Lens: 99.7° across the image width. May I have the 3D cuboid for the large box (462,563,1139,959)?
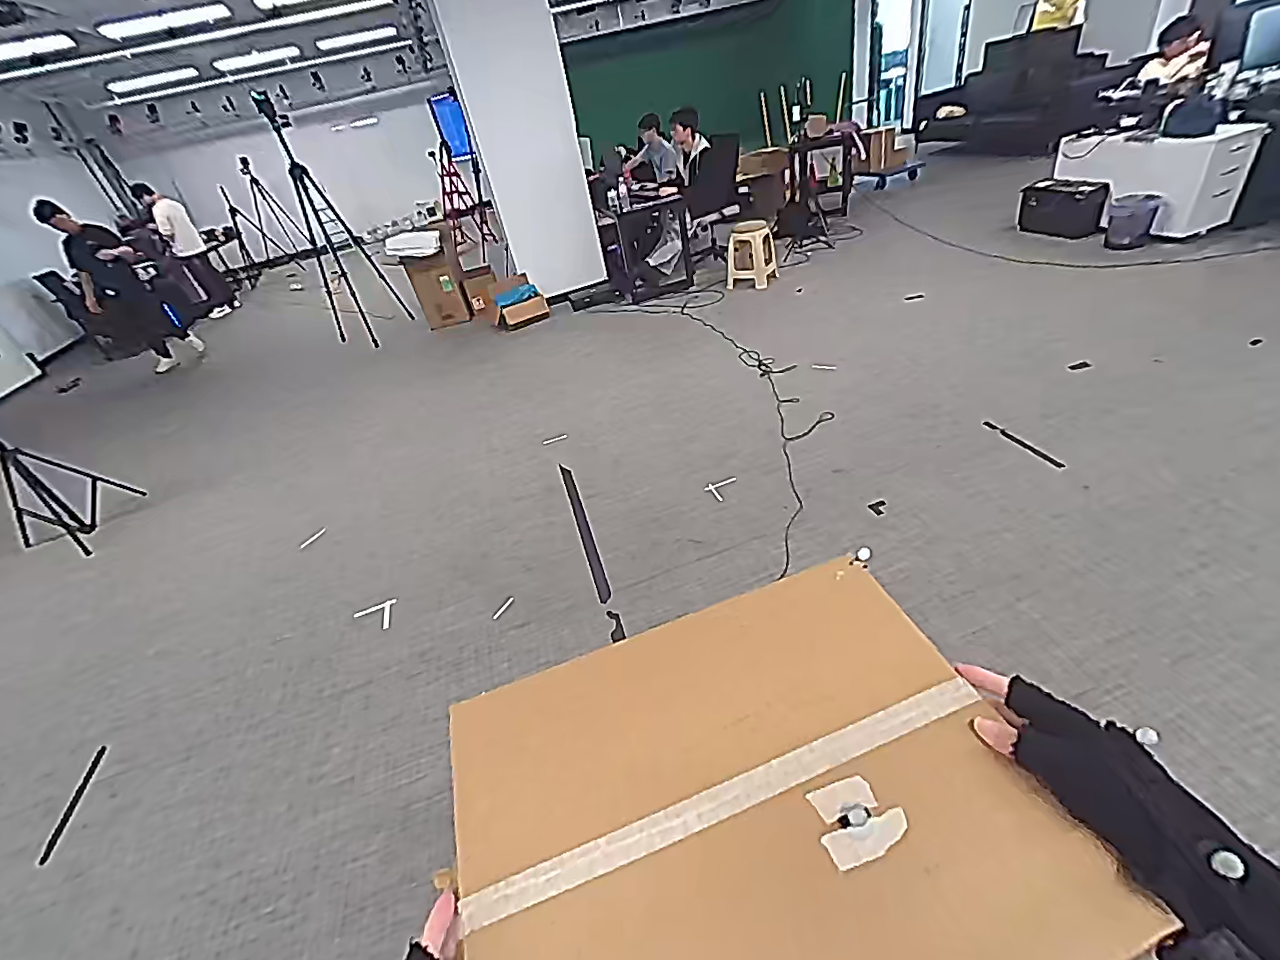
[{"bbox_3d":[0.093,0.347,0.501,0.408,0.320,0.320,-19,42,-9],"label":"large box"}]
